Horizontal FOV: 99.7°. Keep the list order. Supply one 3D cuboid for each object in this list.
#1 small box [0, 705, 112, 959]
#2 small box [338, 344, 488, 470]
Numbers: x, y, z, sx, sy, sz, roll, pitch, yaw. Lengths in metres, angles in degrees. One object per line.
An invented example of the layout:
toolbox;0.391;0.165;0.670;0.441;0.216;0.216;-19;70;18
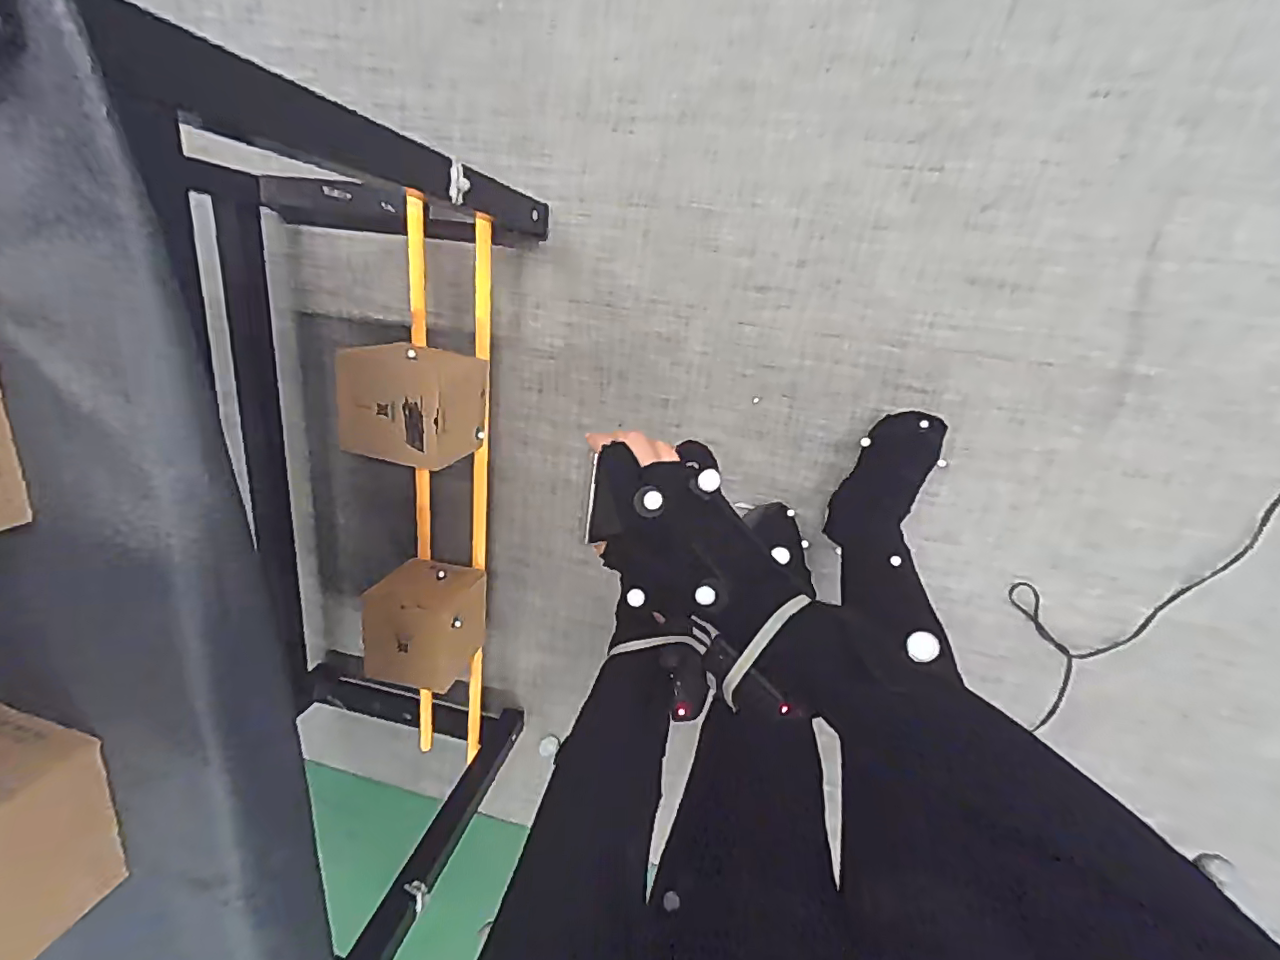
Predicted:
small box;-0.584;0.310;0.435;0.168;0.176;0.179;13;109;8
small box;-0.376;-0.133;0.918;0.179;0.176;0.168;13;109;8
